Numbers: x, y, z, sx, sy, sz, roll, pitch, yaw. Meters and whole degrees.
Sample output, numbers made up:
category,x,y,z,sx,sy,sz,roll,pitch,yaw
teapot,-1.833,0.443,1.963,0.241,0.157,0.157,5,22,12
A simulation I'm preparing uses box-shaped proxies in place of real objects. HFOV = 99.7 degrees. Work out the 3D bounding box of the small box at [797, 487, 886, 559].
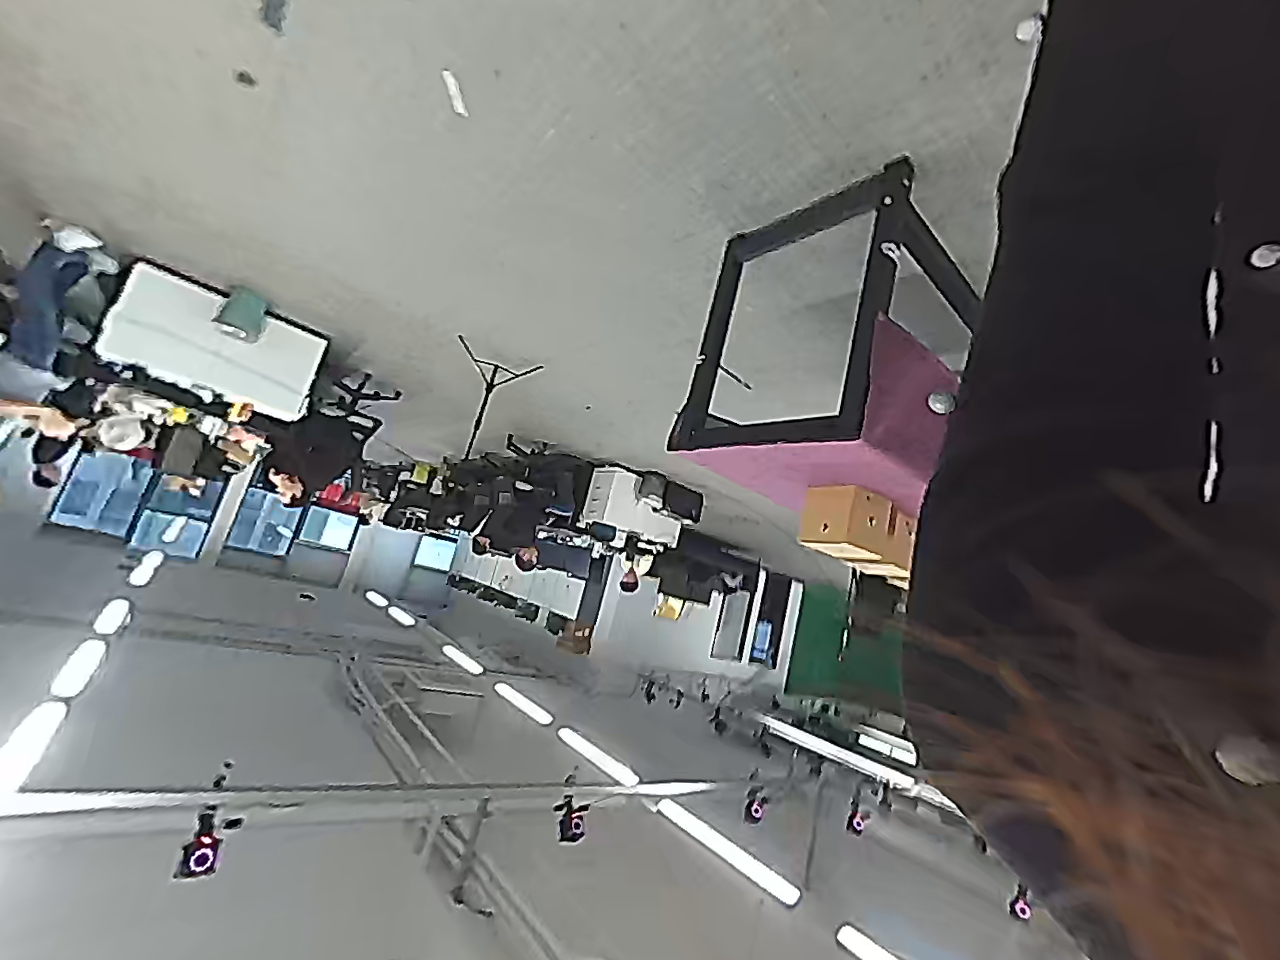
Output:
category,x,y,z,sx,sy,sz,roll,pitch,yaw
small box,0.582,0.122,1.553,0.168,0.176,0.179,21,167,-27

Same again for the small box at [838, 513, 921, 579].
category,x,y,z,sx,sy,sz,roll,pitch,yaw
small box,0.761,0.203,1.713,0.168,0.176,0.179,22,165,-33
